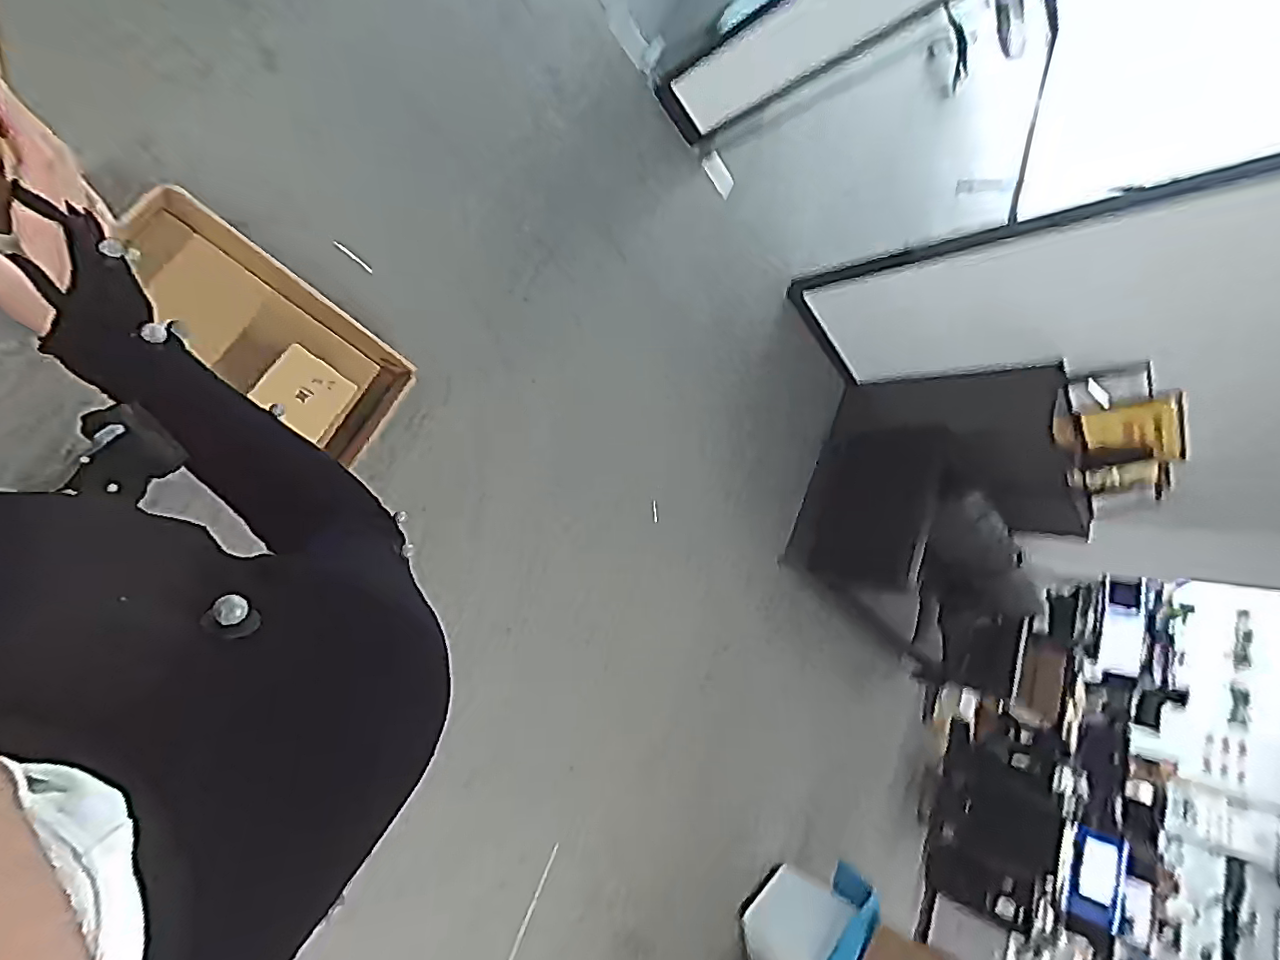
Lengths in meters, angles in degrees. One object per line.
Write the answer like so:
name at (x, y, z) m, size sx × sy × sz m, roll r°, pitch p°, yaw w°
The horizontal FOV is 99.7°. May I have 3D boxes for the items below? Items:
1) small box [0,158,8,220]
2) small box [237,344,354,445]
small box at (-0.516, -0.277, 0.313) m, size 0.168 × 0.176 × 0.179 m, roll -12°, pitch 91°, yaw -43°
small box at (-0.835, -0.197, 1.305) m, size 0.168 × 0.176 × 0.179 m, roll 43°, pitch 64°, yaw -35°
